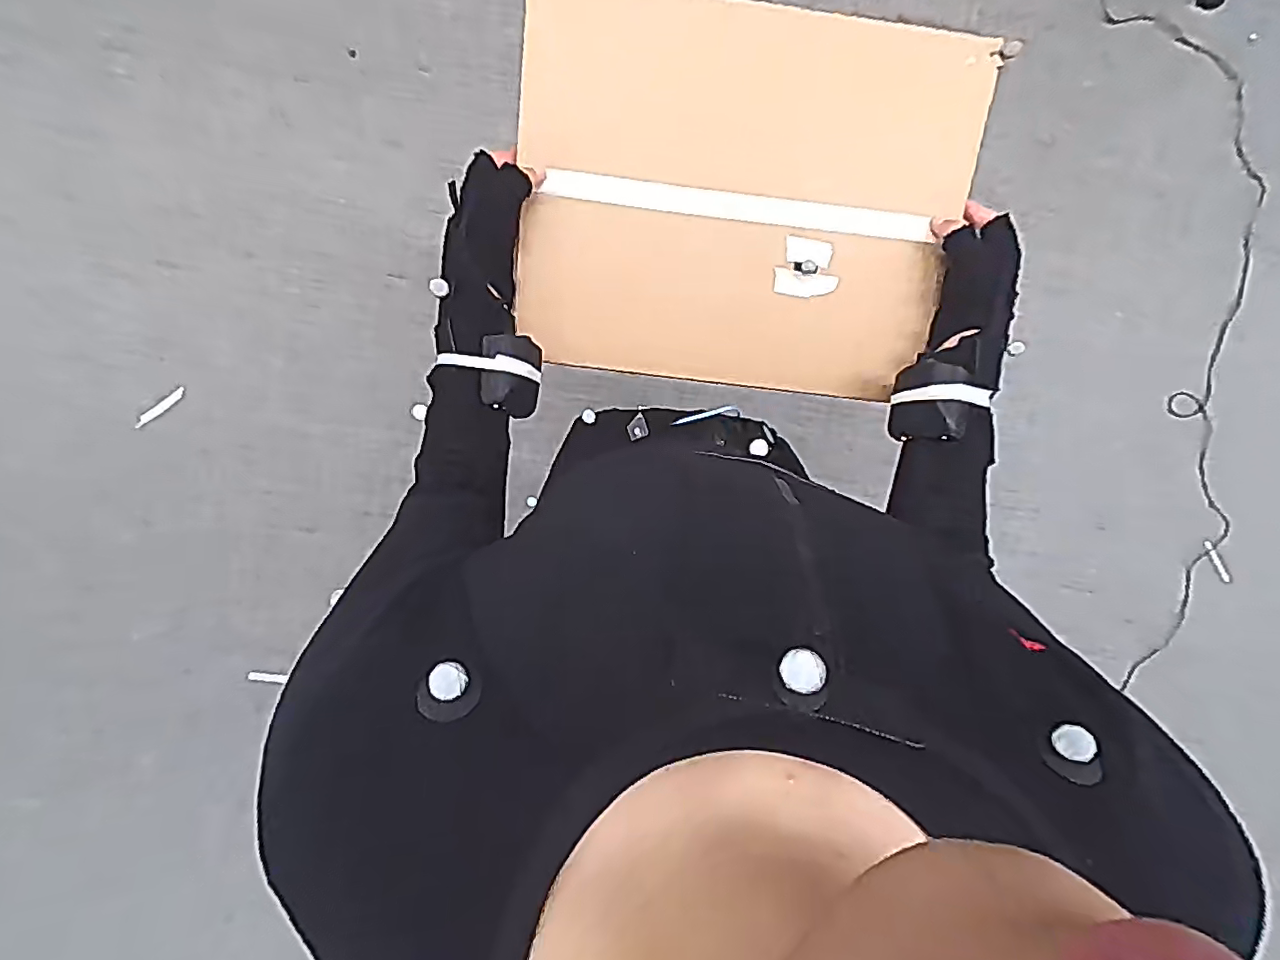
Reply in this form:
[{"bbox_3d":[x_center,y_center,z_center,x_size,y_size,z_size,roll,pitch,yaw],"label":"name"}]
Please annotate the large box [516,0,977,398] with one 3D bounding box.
[{"bbox_3d":[0.082,-0.284,0.647,0.408,0.320,0.320,6,105,-4],"label":"large box"}]
